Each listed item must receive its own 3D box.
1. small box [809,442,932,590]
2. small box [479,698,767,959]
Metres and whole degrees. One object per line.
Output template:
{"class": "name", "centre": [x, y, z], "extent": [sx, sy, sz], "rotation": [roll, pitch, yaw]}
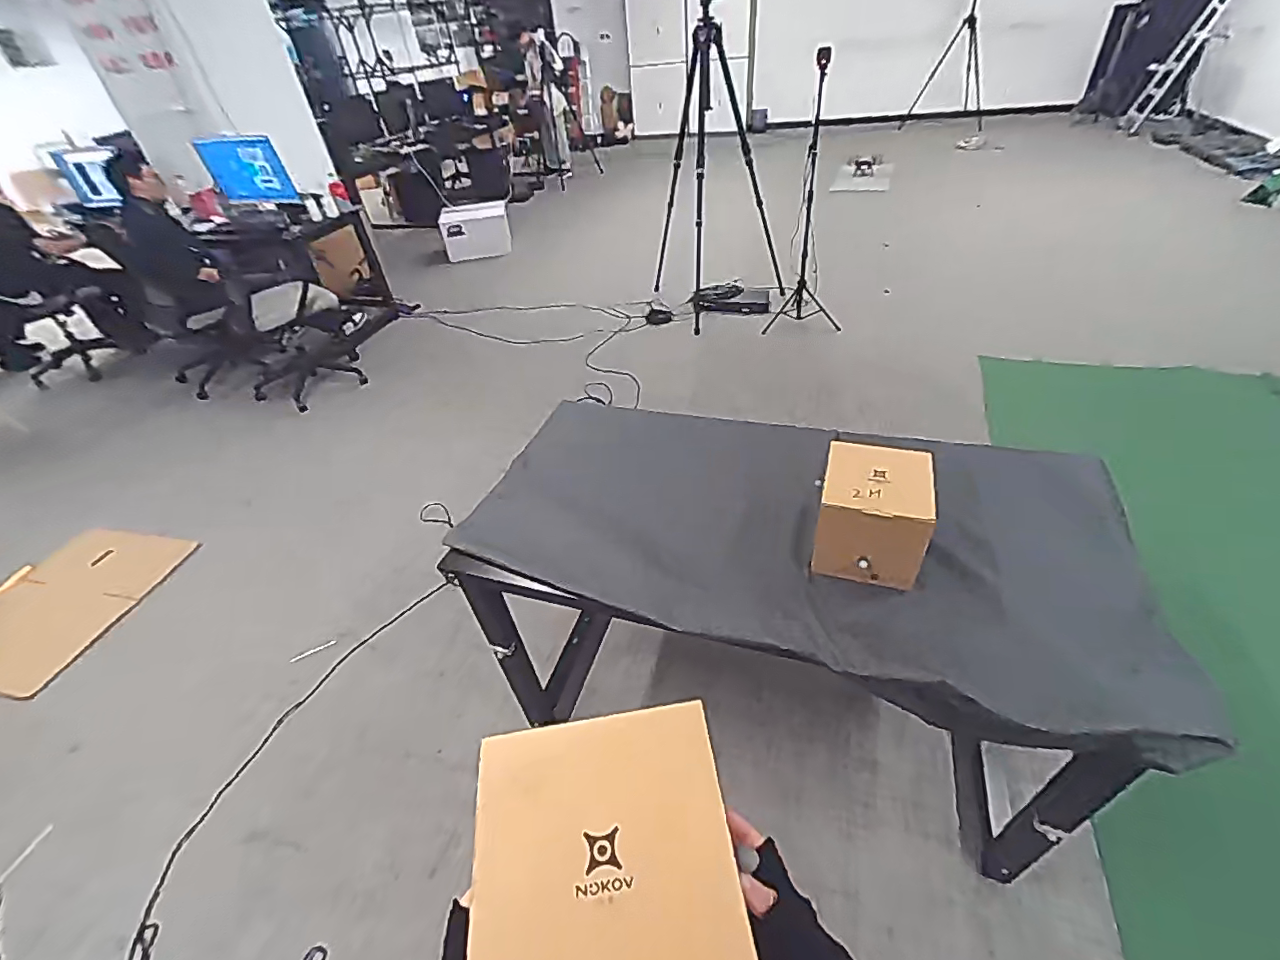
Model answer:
{"class": "small box", "centre": [0.396, 0.061, 0.945], "extent": [0.168, 0.176, 0.179], "rotation": [10, 43, 18]}
{"class": "small box", "centre": [-0.014, 0.290, 0.401], "extent": [0.168, 0.176, 0.179], "rotation": [-8, 48, -3]}
